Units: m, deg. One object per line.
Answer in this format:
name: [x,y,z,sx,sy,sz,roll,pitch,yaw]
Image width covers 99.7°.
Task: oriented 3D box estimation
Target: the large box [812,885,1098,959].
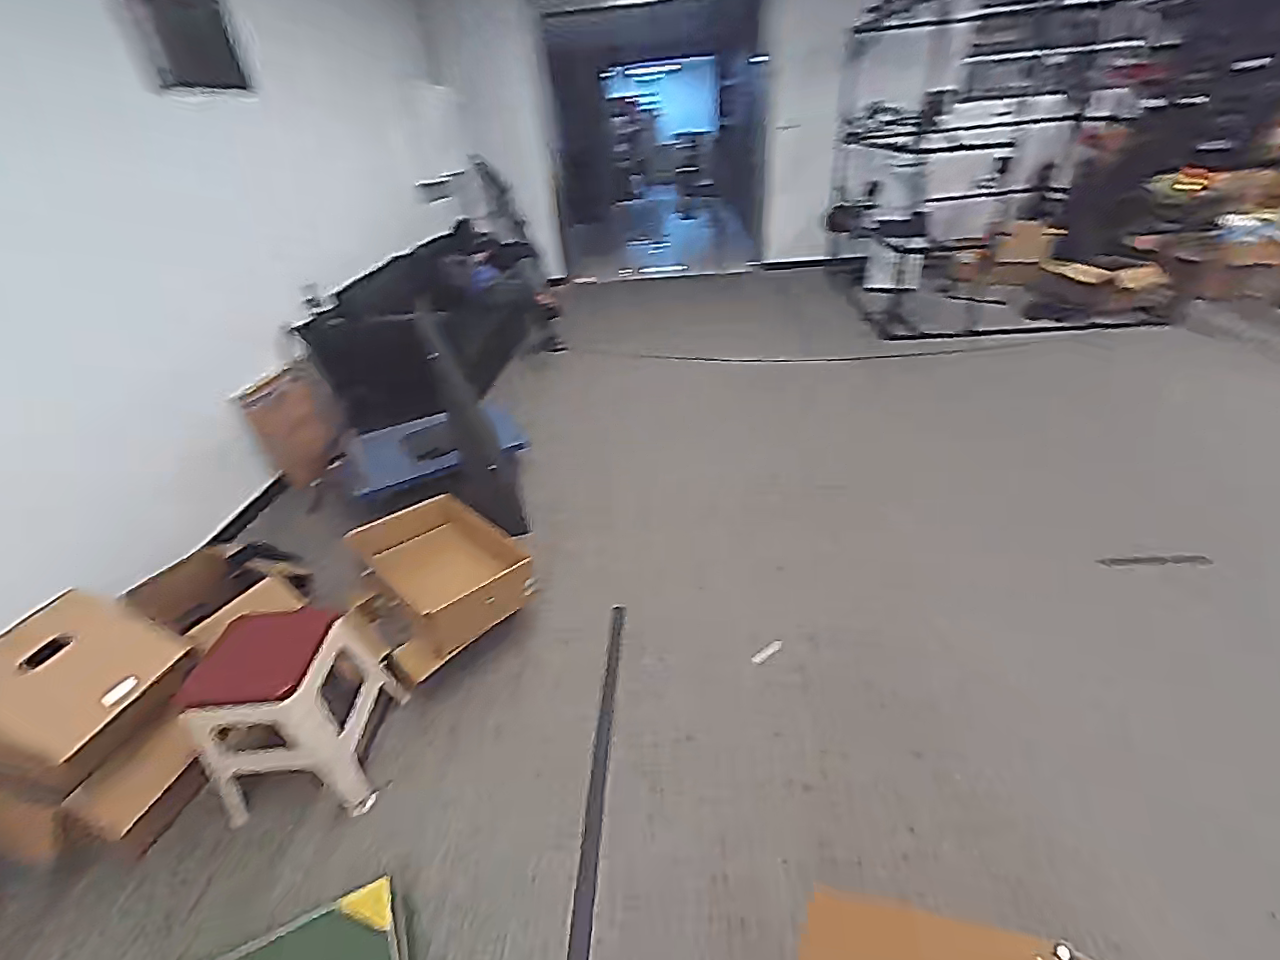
large box: [0.427,0.730,0.609,0.320,0.408,0.320,30,56,-5]
